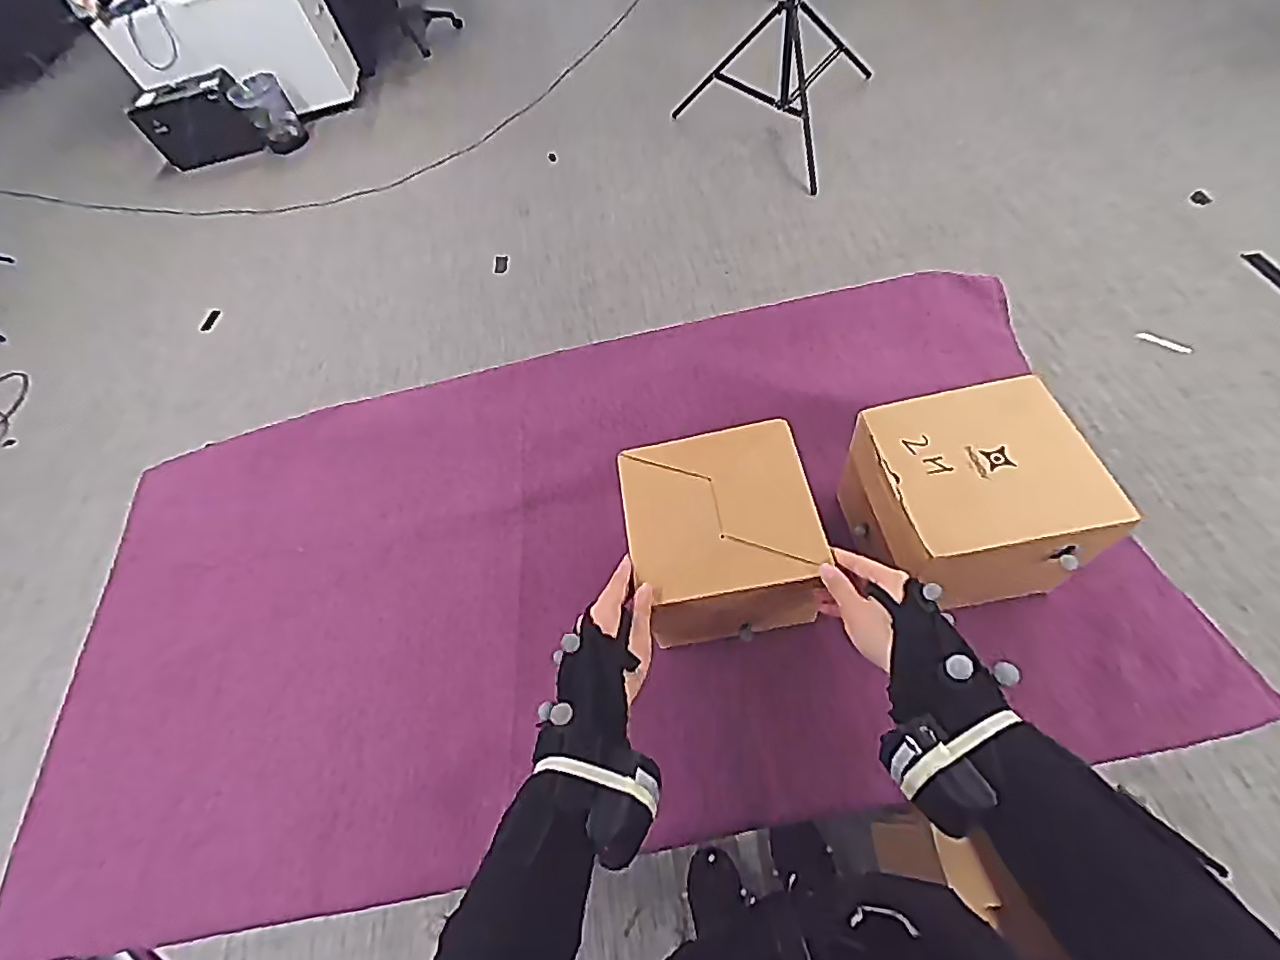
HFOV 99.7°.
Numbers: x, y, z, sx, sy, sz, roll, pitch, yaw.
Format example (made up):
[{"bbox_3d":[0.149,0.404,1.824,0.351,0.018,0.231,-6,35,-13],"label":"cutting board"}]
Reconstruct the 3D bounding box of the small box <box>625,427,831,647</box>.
[{"bbox_3d":[0.087,0.064,0.579,0.179,0.176,0.168,-12,58,5],"label":"small box"}]

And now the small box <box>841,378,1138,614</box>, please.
[{"bbox_3d":[0.330,0.024,0.559,0.179,0.176,0.168,-11,56,4],"label":"small box"}]
